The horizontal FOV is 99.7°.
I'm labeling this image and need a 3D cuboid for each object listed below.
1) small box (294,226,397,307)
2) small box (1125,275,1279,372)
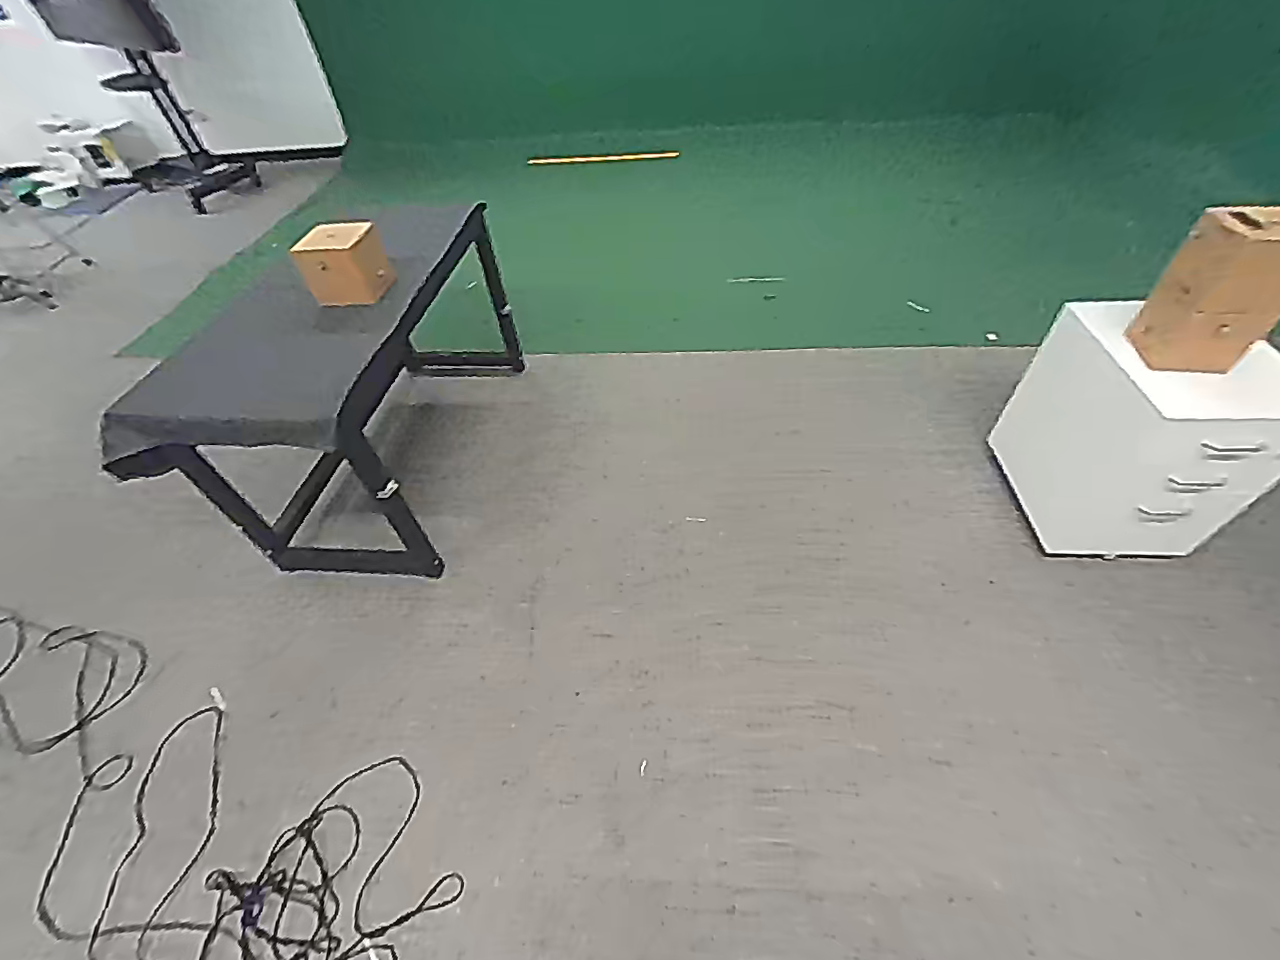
[{"bbox_3d":[-0.849,-0.618,1.577,0.179,0.176,0.168,0,48,7],"label":"small box"},{"bbox_3d":[1.372,-0.385,1.337,0.179,0.176,0.168,5,48,9],"label":"small box"}]
